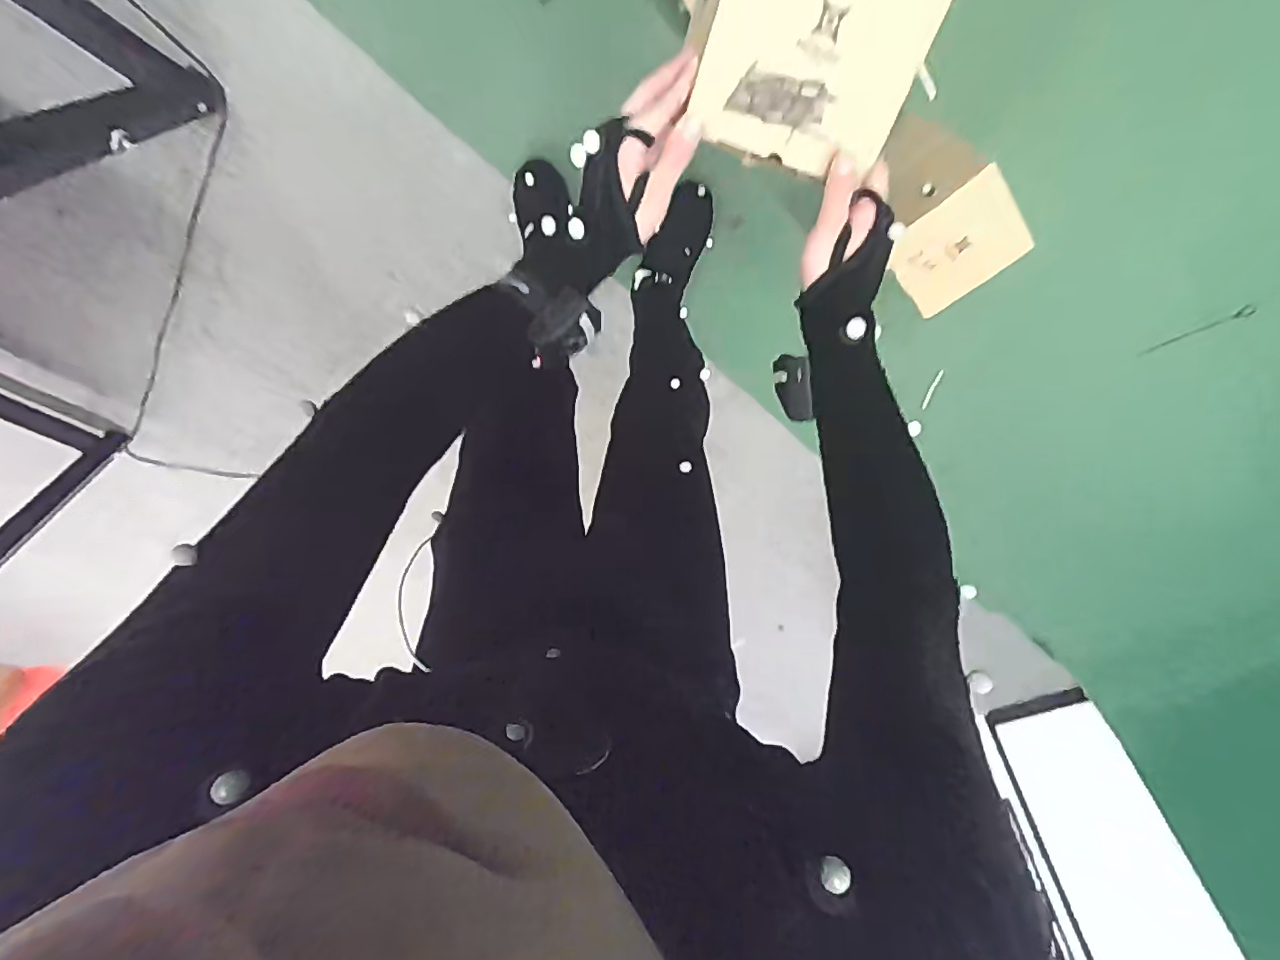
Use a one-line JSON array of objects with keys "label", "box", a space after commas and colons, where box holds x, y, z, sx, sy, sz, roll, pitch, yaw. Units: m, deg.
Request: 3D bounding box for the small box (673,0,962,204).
[{"label": "small box", "box": [0.132, -0.366, 0.463, 0.168, 0.176, 0.179, 12, 123, -13]}]

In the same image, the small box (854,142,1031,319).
[{"label": "small box", "box": [0.486, -0.411, 0.889, 0.179, 0.176, 0.168, -35, 124, 30]}]
